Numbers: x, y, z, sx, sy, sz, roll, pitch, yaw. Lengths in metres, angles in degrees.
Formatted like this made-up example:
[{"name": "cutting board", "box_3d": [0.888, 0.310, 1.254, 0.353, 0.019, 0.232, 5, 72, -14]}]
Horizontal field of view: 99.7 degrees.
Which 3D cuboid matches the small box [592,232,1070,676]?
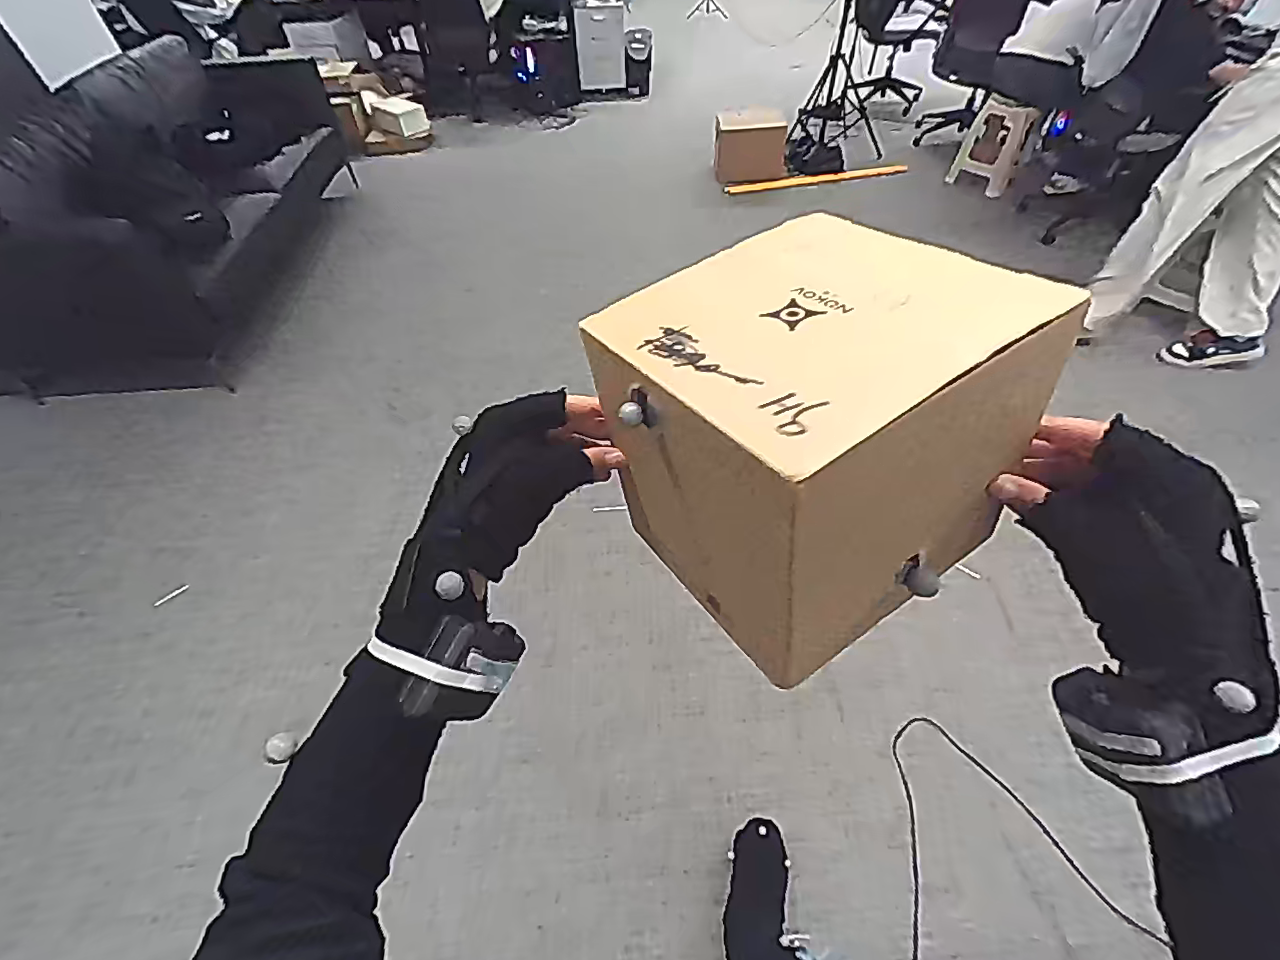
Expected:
[{"name": "small box", "box_3d": [0.097, -0.022, 0.328, 0.179, 0.176, 0.168, -30, 45, -18]}]
